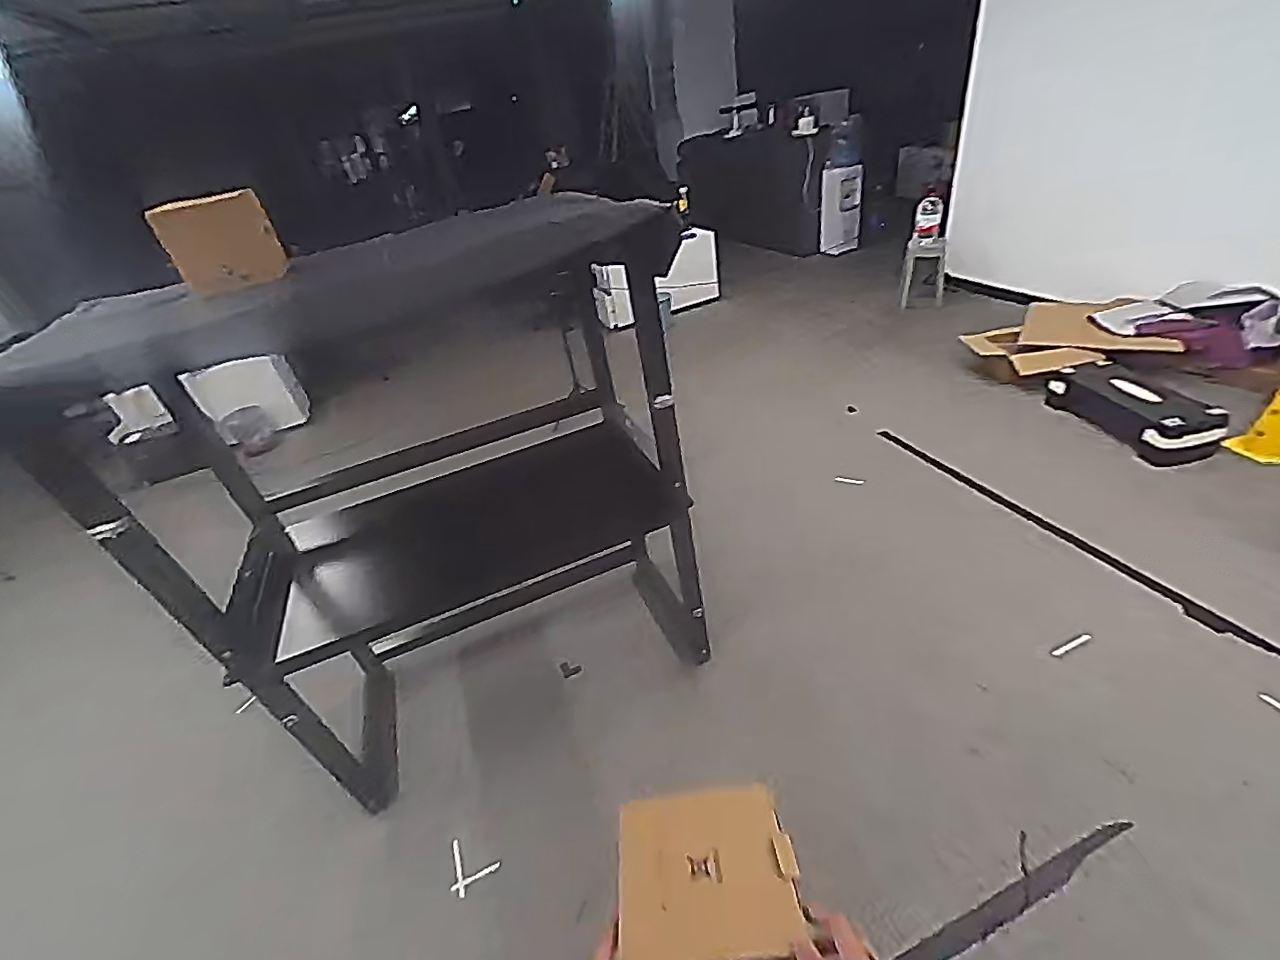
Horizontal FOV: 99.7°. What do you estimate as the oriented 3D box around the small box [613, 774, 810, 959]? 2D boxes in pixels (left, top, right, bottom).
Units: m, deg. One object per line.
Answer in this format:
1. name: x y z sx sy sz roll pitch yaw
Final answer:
1. small box: 0.072 0.452 0.576 0.179 0.176 0.168 -9 21 2
